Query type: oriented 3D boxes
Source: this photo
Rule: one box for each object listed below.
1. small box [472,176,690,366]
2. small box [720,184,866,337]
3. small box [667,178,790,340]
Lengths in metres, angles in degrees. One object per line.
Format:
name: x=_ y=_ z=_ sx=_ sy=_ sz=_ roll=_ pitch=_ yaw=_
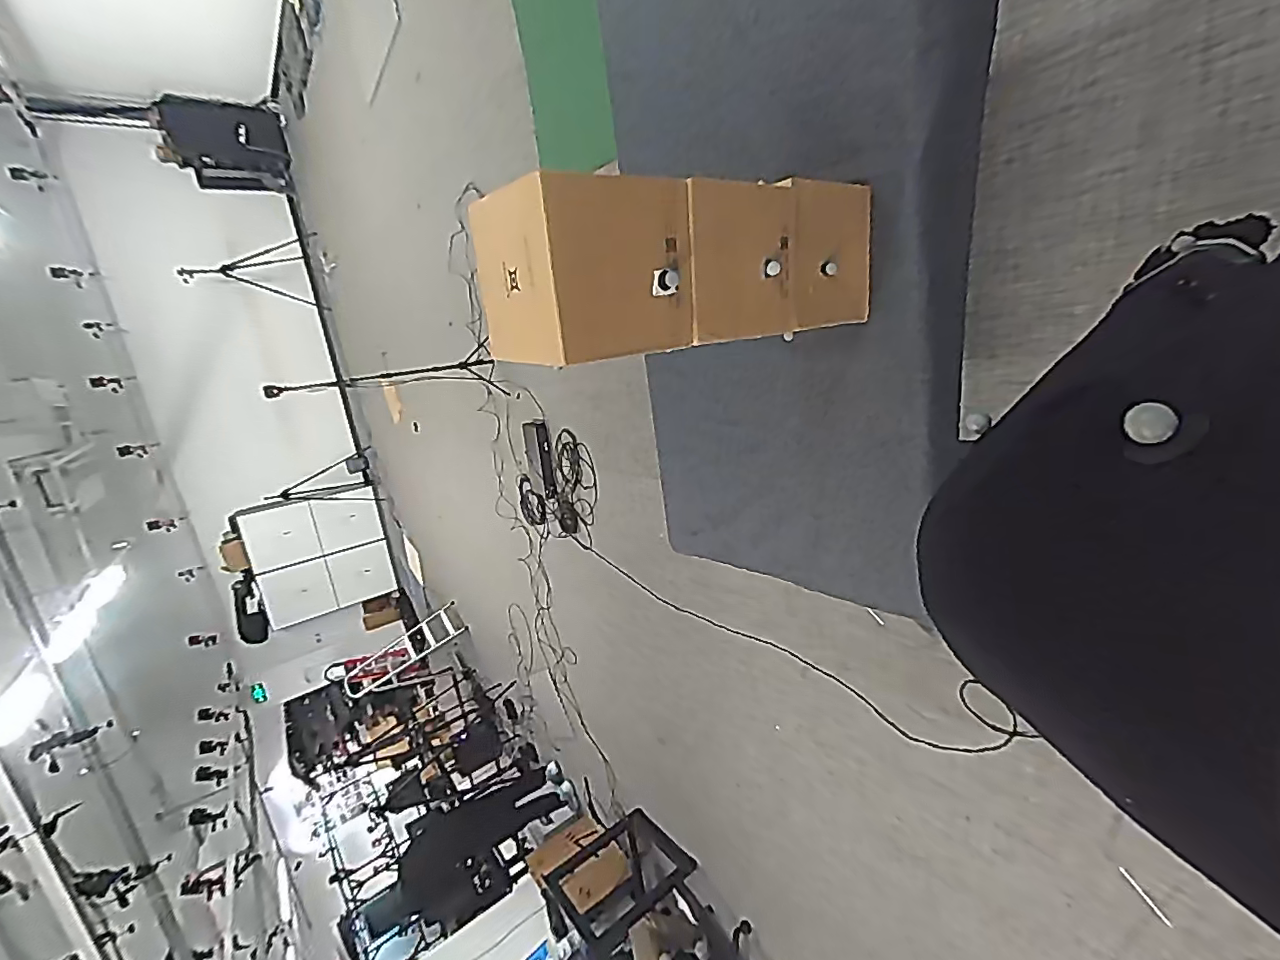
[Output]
small box: x=-0.063 y=-0.225 z=0.600 sx=0.179 sy=0.176 sz=0.168 roll=18 pitch=121 yaw=51
small box: x=0.203 y=-0.307 z=0.771 sx=0.168 sy=0.176 sz=0.179 roll=16 pitch=118 yaw=52
small box: x=0.068 y=-0.266 z=0.685 sx=0.179 sy=0.176 sz=0.168 roll=17 pitch=118 yaw=54
